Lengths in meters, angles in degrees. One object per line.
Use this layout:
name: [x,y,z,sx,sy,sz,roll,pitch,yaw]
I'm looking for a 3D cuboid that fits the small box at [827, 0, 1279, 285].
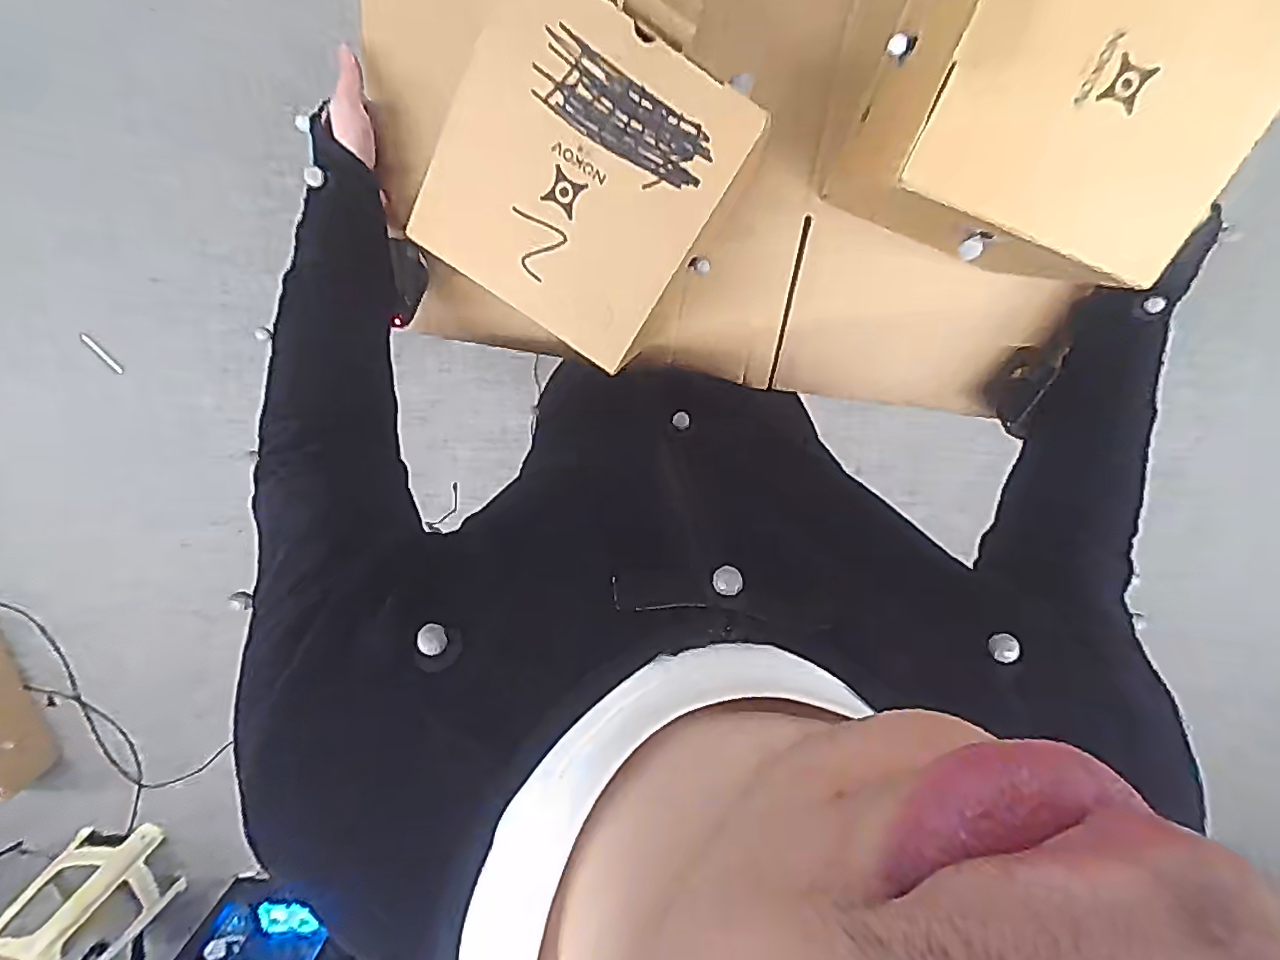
small box: [0.263,-0.255,0.379,0.179,0.176,0.168,20,113,-5]
